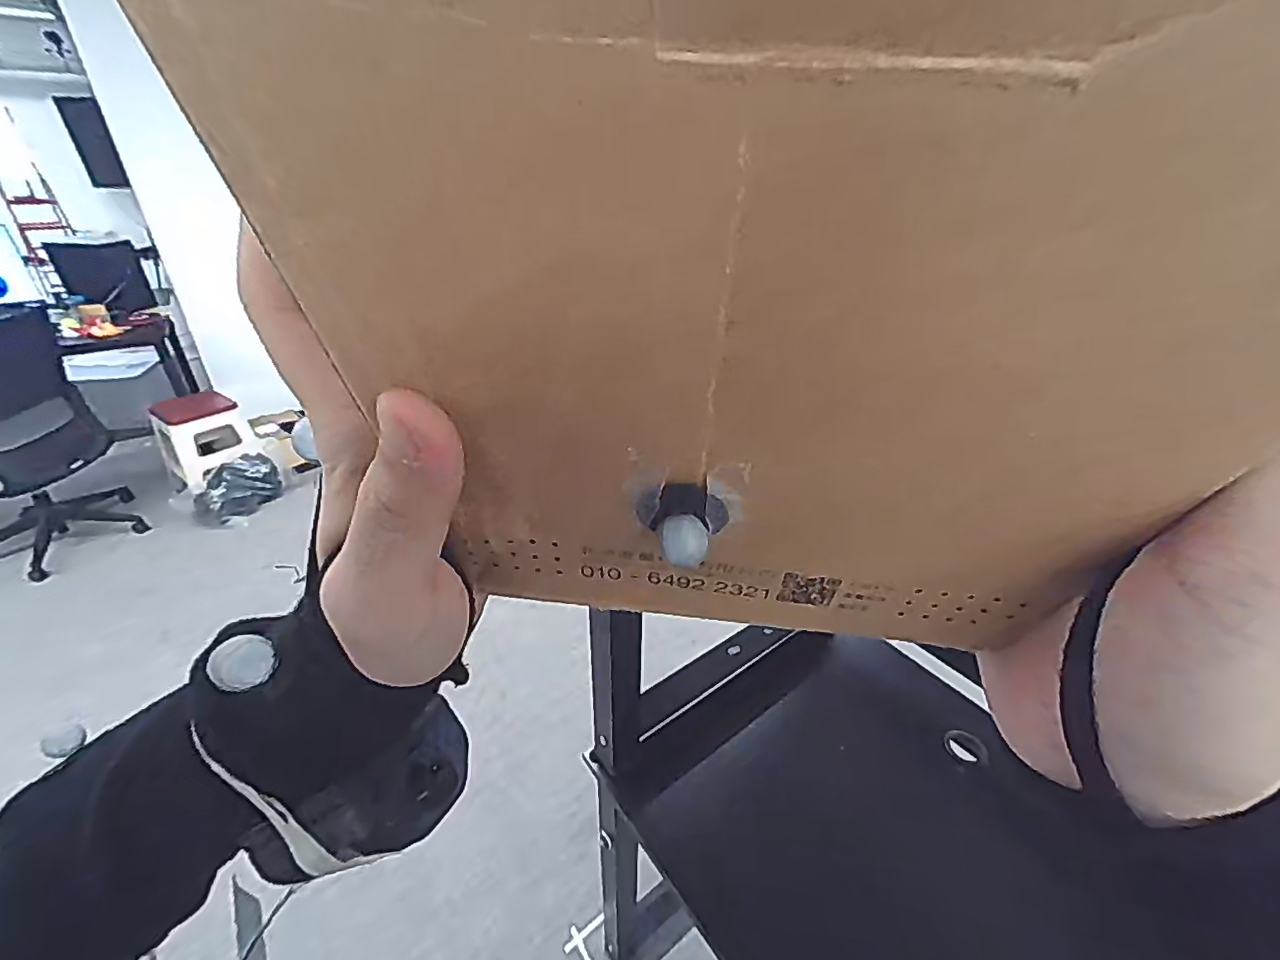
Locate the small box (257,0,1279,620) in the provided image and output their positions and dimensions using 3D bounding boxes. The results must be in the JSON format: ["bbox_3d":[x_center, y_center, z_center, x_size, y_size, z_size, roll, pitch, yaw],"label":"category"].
[{"bbox_3d":[0.036,-0.084,0.148,0.168,0.176,0.179,5,53,4],"label":"small box"}]
